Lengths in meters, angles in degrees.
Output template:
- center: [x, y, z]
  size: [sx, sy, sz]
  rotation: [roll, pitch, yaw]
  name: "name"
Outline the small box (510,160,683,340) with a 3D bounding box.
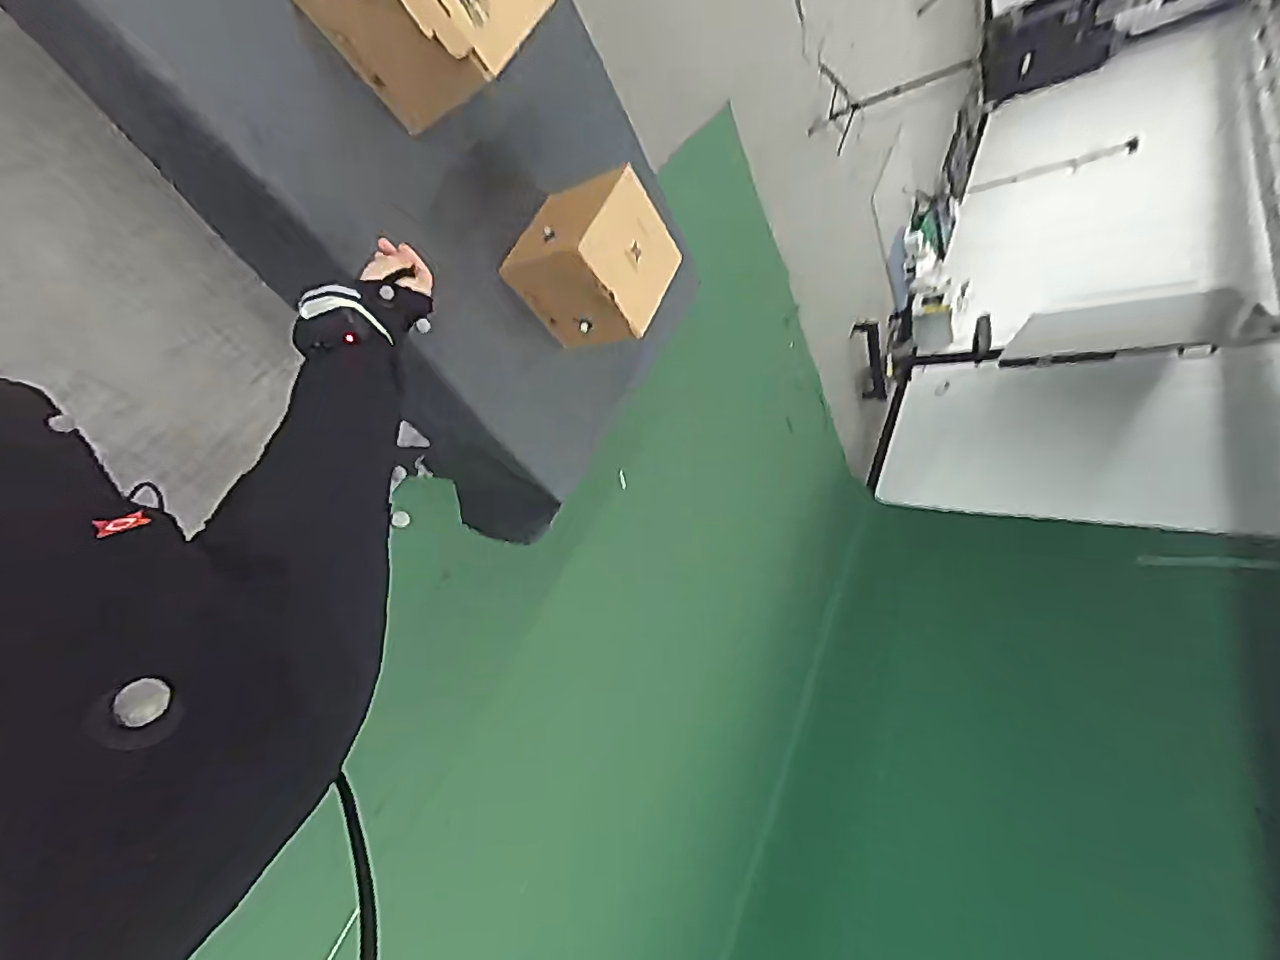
- center: [-0.068, -0.332, 0.815]
  size: [0.168, 0.176, 0.179]
  rotation: [46, 58, -44]
  name: "small box"
